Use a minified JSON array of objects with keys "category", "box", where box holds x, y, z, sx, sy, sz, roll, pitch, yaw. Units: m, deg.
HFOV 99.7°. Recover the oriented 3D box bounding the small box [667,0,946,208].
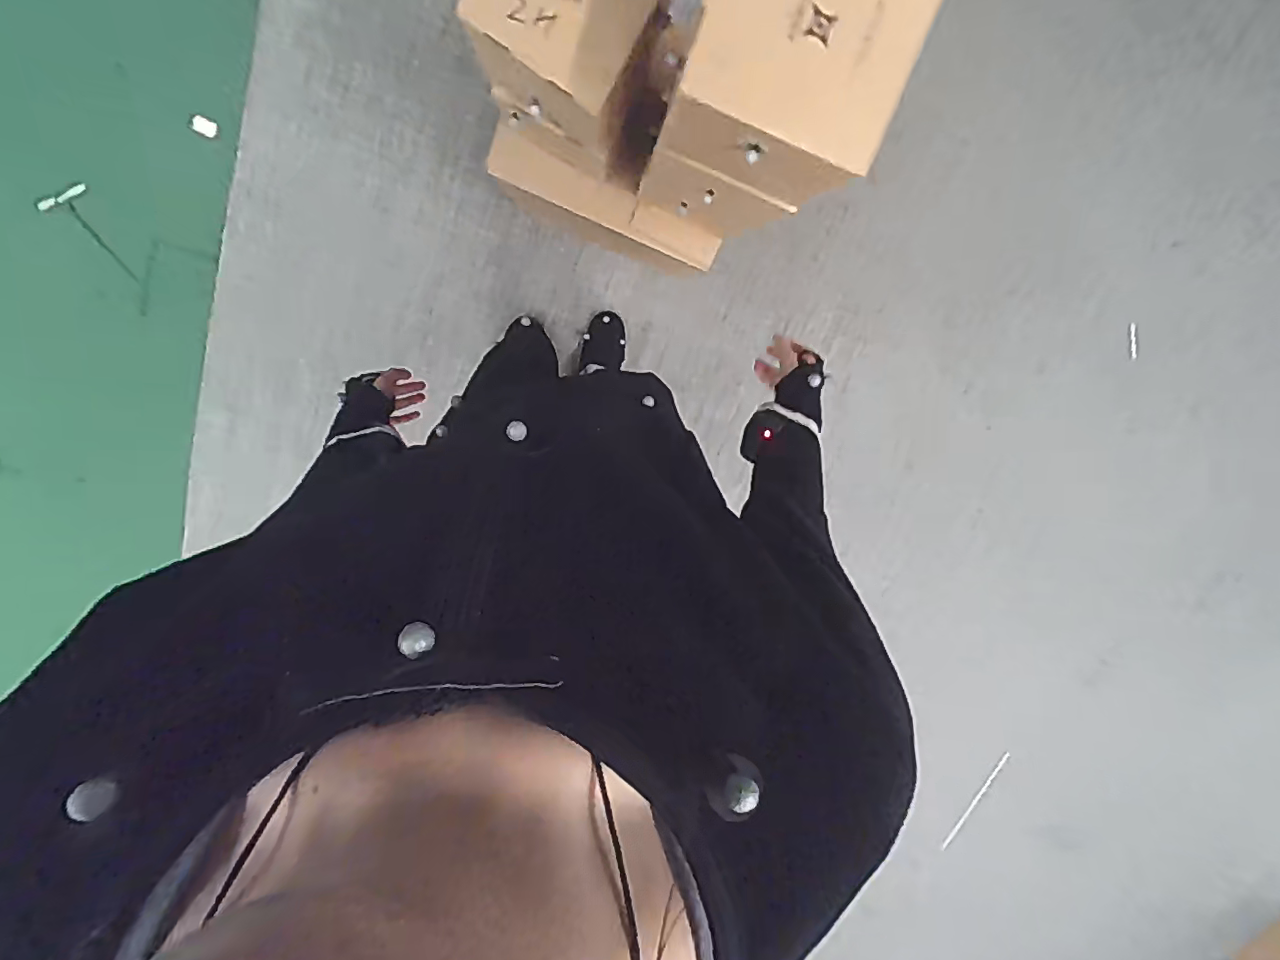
[{"category":"small box","box":[0.136,-0.378,0.507,0.179,0.176,0.168,19,106,-10]}]
